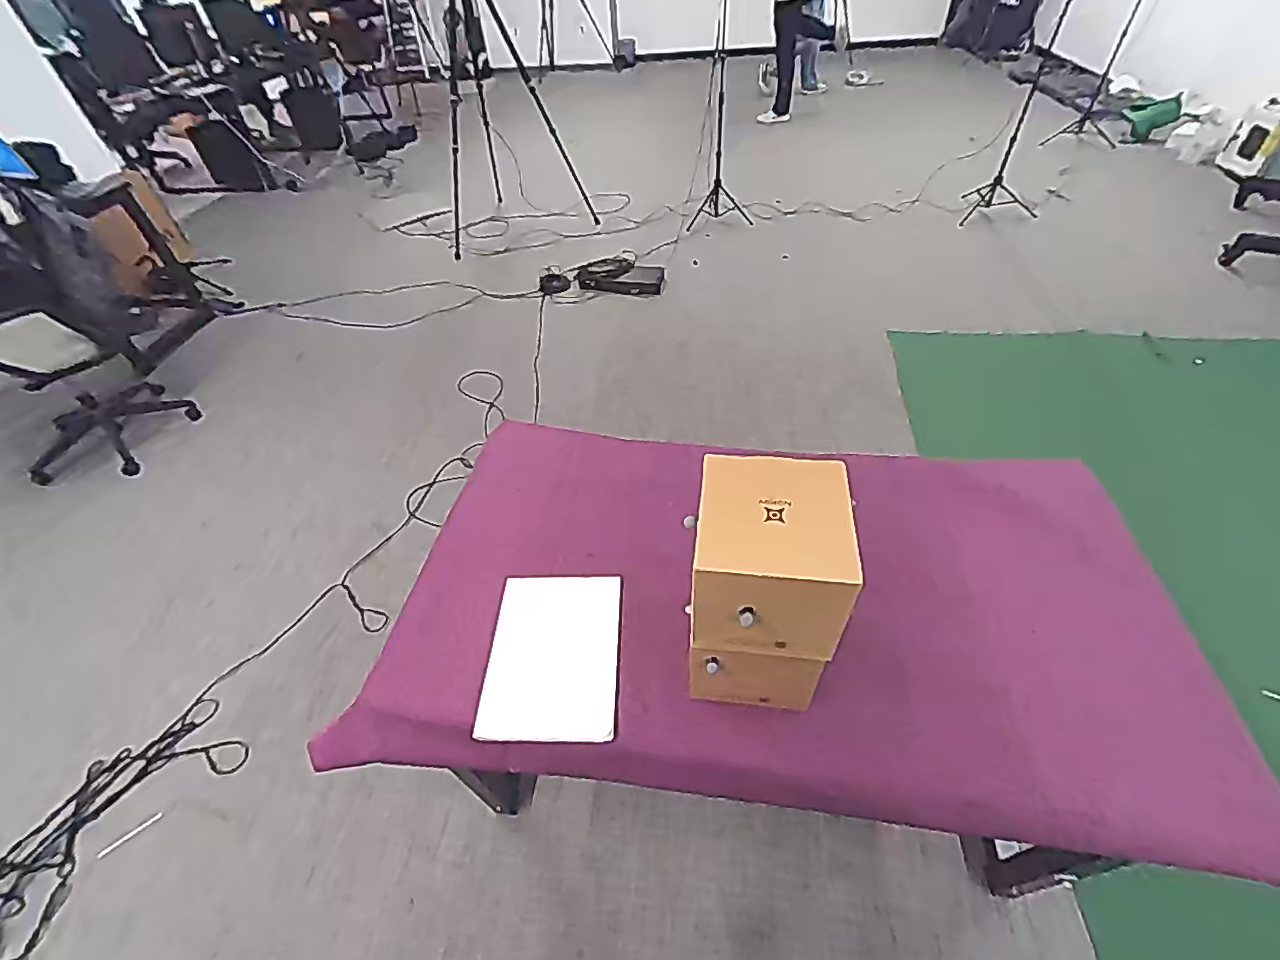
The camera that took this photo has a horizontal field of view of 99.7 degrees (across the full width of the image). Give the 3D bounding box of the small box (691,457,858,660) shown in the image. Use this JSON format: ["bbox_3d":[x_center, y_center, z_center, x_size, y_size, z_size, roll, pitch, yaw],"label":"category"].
[{"bbox_3d":[0.151,0.094,0.648,0.168,0.176,0.179,4,45,8],"label":"small box"}]
